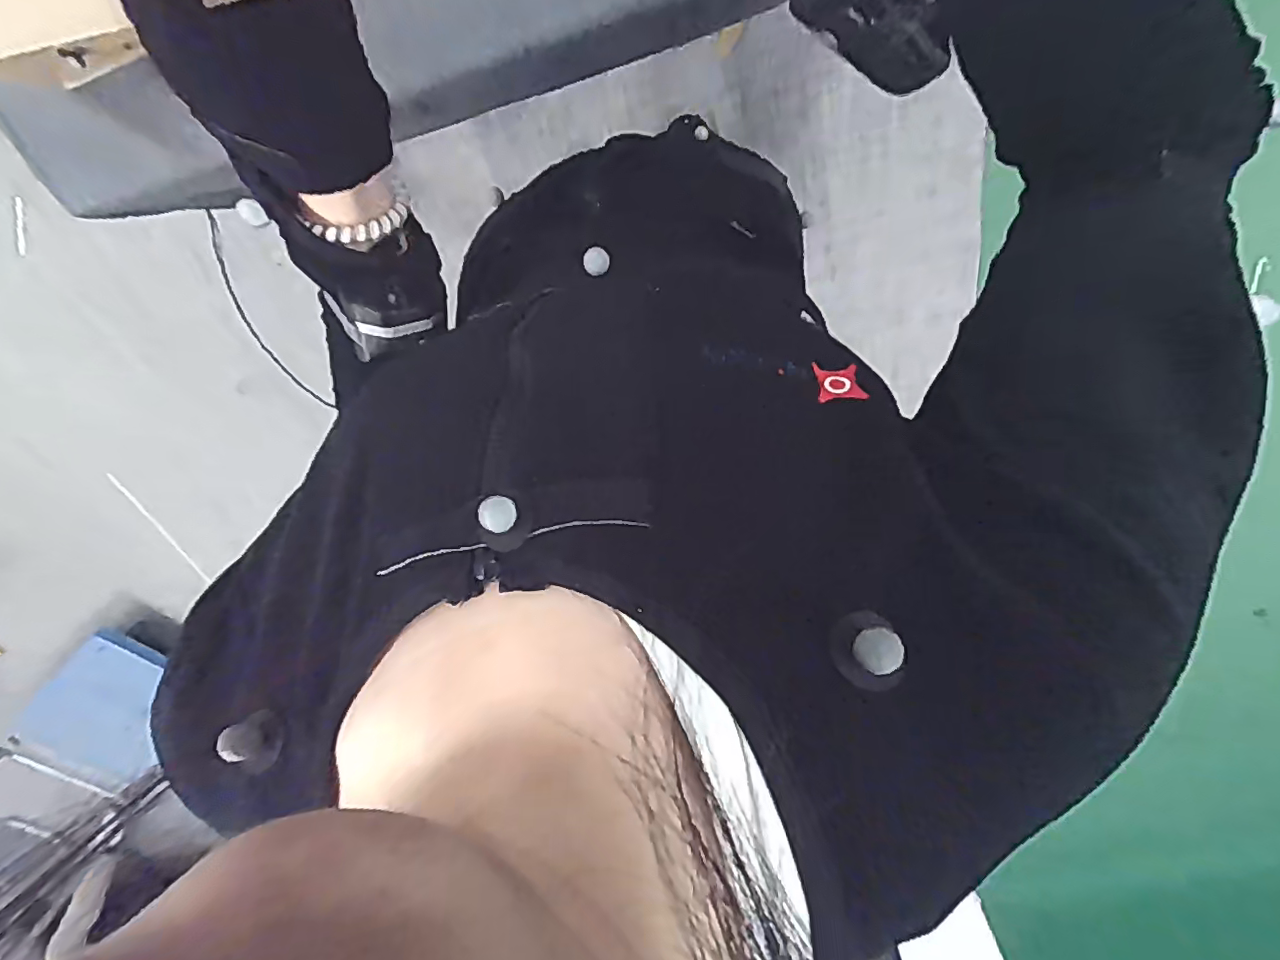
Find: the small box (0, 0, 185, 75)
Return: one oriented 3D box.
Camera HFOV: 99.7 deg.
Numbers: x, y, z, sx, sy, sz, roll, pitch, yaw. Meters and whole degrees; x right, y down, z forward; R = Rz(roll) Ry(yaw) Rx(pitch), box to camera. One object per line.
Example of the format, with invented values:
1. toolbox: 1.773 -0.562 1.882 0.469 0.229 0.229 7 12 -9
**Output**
1. small box: -0.534 -0.457 0.424 0.168 0.176 0.179 -15 120 9
